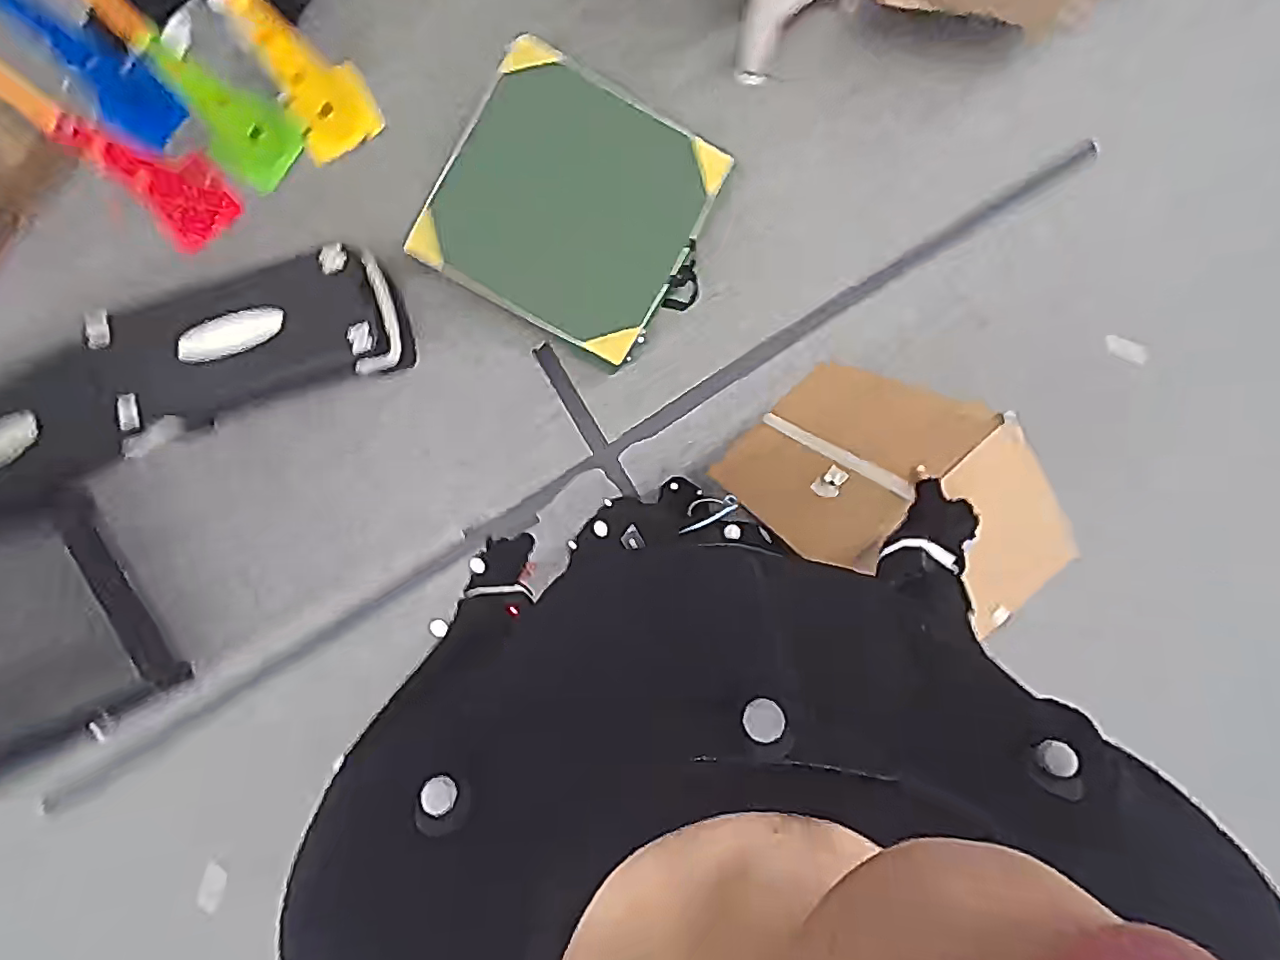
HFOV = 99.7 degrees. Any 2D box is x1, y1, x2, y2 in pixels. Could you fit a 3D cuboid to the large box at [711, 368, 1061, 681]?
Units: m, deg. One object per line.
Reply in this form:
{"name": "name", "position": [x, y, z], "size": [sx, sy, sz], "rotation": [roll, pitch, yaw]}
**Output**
{"name": "large box", "position": [0.395, 0.053, 0.942], "size": [0.320, 0.408, 0.320], "rotation": [-44, 118, 4]}
